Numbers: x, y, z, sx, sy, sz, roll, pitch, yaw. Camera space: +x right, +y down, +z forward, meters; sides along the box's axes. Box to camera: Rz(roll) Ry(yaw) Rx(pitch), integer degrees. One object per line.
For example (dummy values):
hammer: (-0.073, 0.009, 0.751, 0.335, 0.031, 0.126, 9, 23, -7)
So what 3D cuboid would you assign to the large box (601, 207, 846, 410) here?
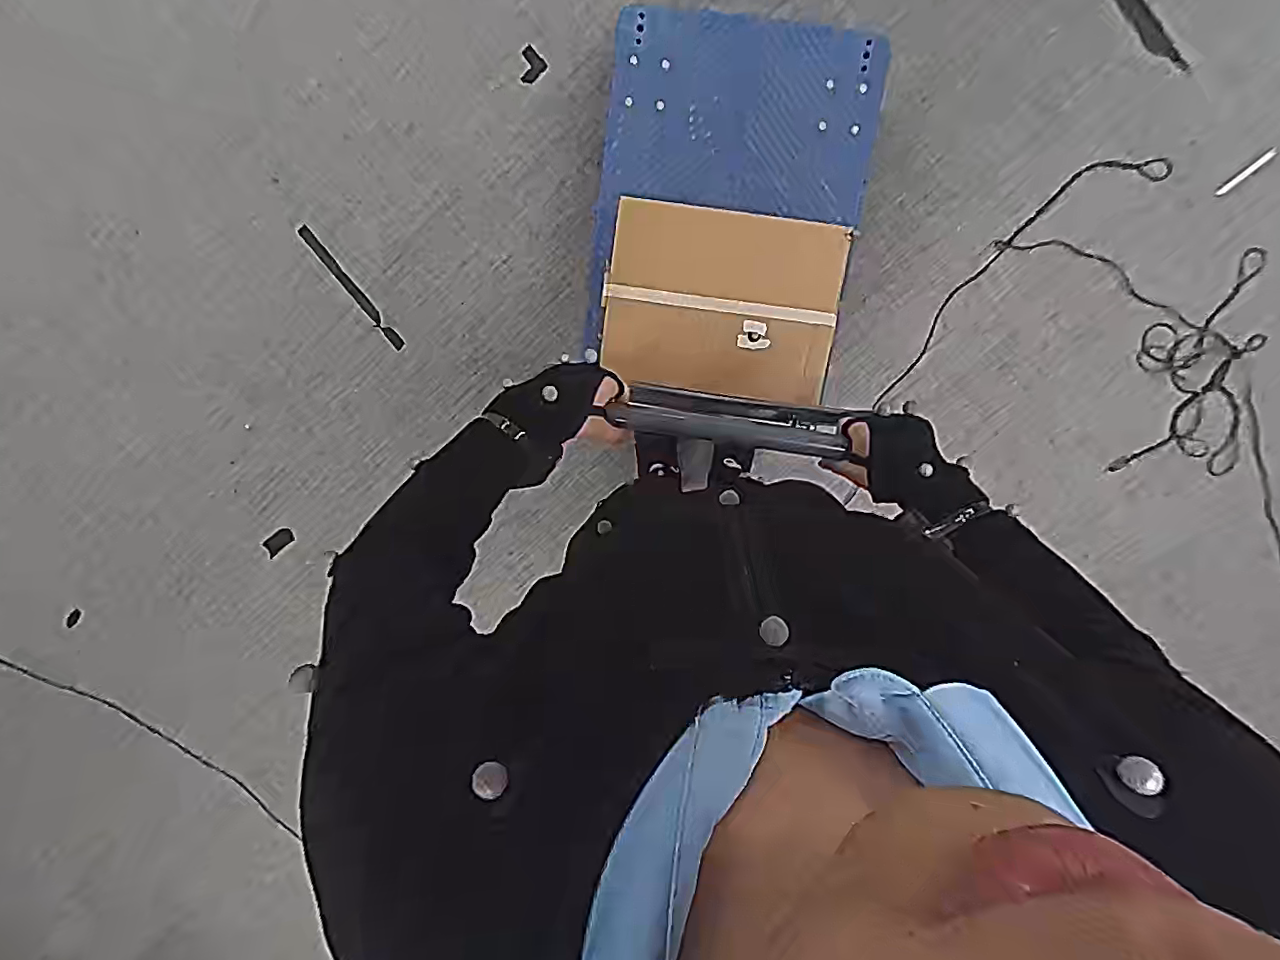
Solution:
large box: (0.144, -0.326, 1.105, 0.408, 0.320, 0.320, 8, 101, 1)
